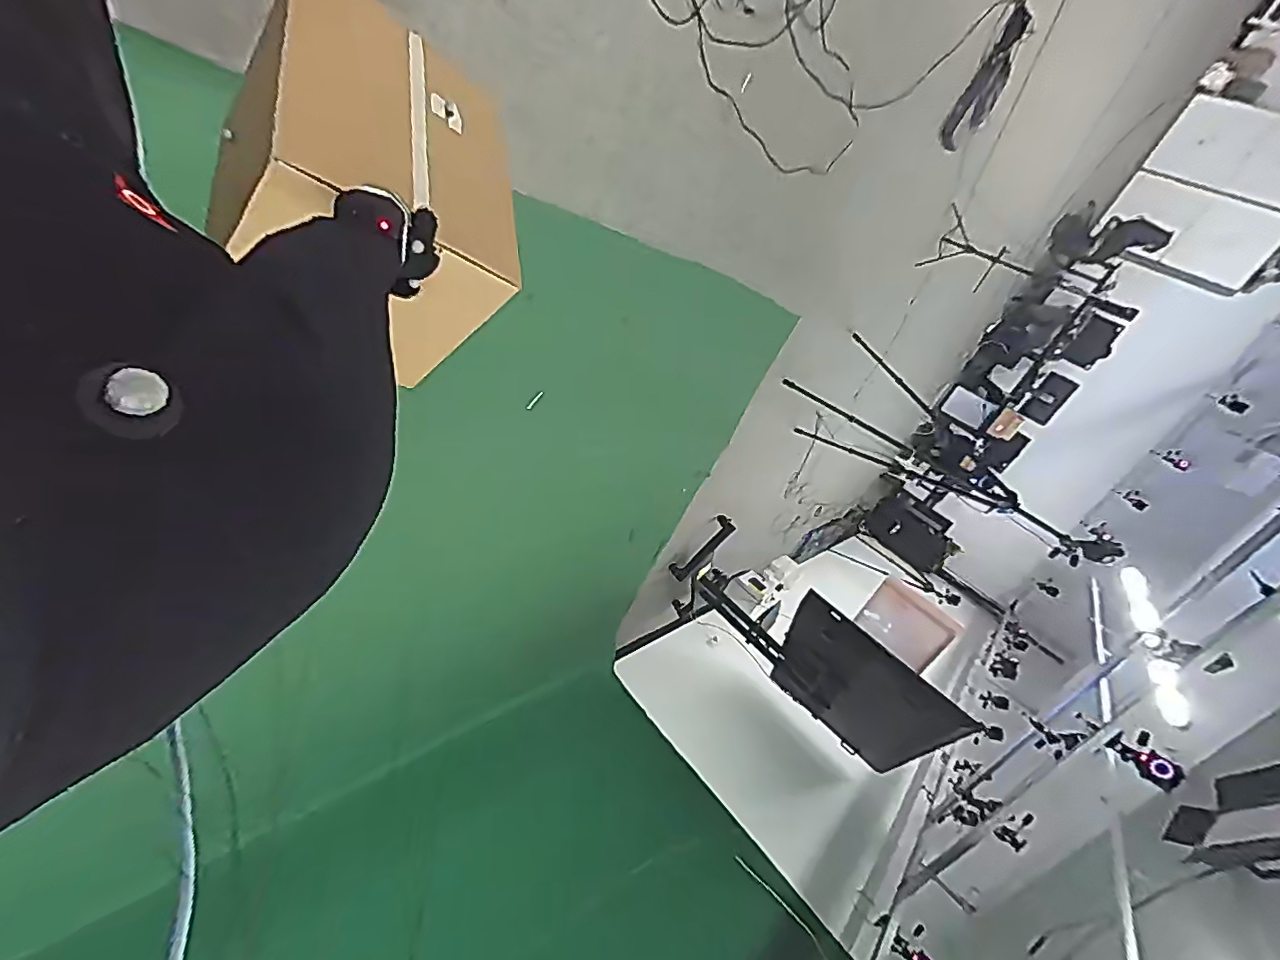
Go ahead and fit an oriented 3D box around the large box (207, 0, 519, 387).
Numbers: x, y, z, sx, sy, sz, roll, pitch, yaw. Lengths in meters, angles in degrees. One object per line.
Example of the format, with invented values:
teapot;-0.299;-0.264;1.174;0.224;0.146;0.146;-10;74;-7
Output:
large box;-0.421;-0.415;0.827;0.320;0.408;0.320;-27;153;34
